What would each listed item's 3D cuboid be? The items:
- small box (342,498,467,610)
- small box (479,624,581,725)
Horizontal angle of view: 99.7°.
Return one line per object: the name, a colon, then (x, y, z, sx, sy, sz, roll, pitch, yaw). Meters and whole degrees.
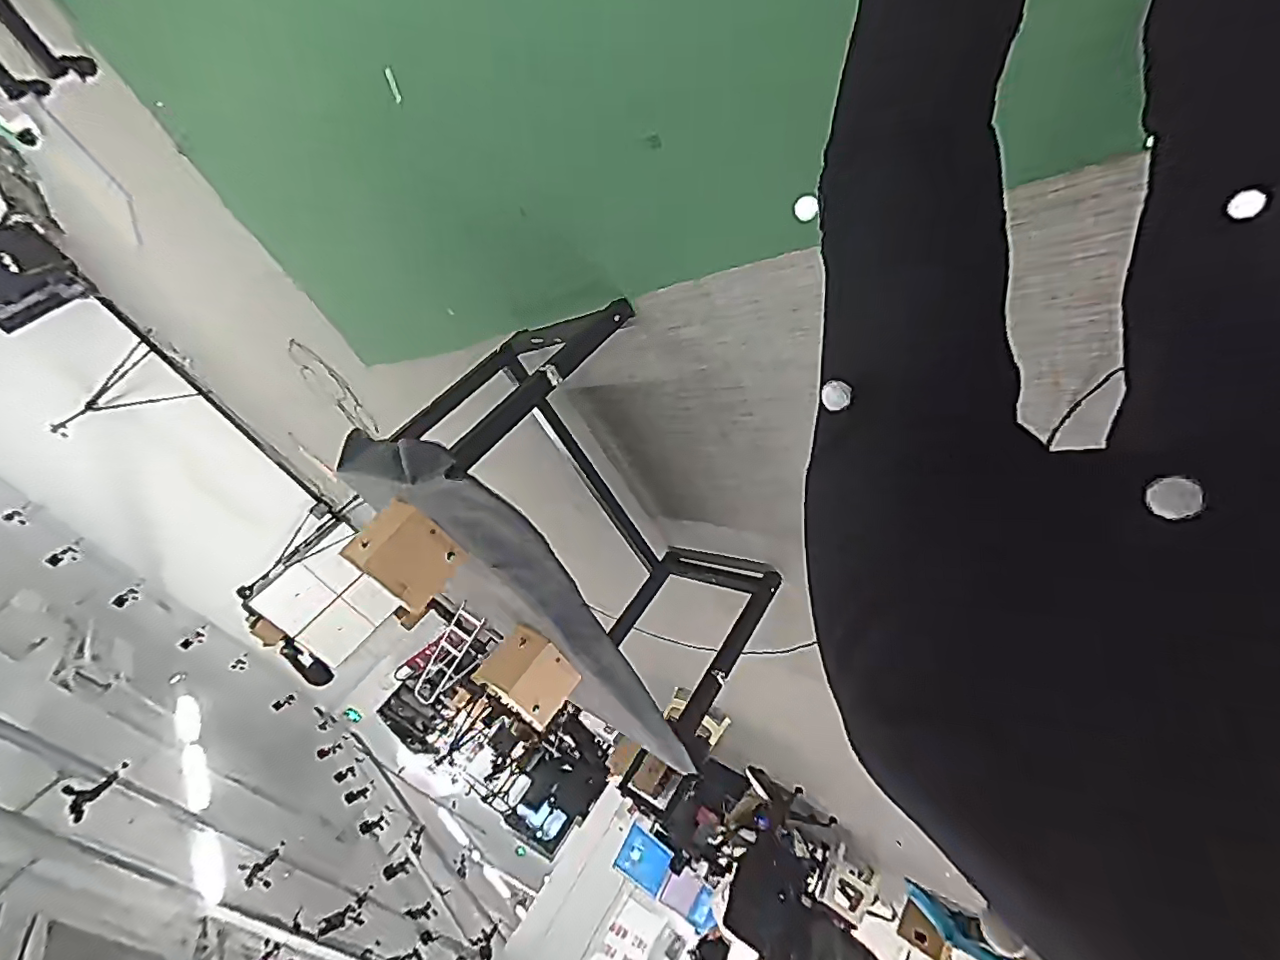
small box: (-0.519, 0.158, 1.210, 0.179, 0.176, 0.168, 7, 140, 48)
small box: (-0.293, 0.515, 1.460, 0.179, 0.176, 0.168, 6, 137, 49)
